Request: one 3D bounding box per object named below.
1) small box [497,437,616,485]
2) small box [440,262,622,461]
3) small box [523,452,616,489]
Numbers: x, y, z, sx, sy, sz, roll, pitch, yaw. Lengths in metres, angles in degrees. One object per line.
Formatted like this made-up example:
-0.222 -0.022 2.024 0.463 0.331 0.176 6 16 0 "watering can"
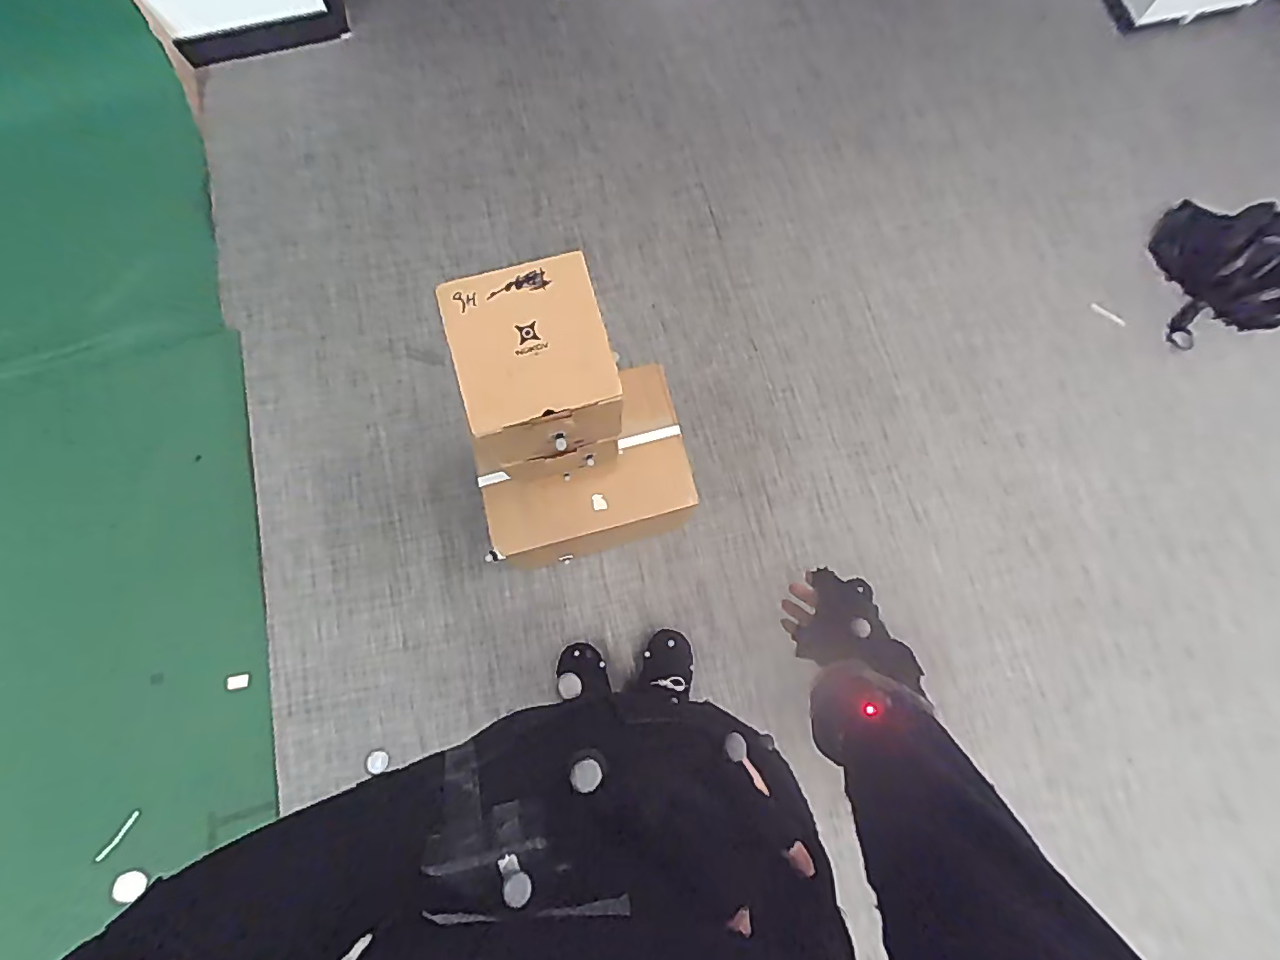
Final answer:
-0.135 -0.098 0.823 0.168 0.176 0.179 -16 81 -6 "small box"
-0.121 -0.129 0.663 0.168 0.176 0.179 -16 83 -5 "small box"
-0.140 -0.083 0.982 0.179 0.176 0.168 -8 80 -3 "small box"
